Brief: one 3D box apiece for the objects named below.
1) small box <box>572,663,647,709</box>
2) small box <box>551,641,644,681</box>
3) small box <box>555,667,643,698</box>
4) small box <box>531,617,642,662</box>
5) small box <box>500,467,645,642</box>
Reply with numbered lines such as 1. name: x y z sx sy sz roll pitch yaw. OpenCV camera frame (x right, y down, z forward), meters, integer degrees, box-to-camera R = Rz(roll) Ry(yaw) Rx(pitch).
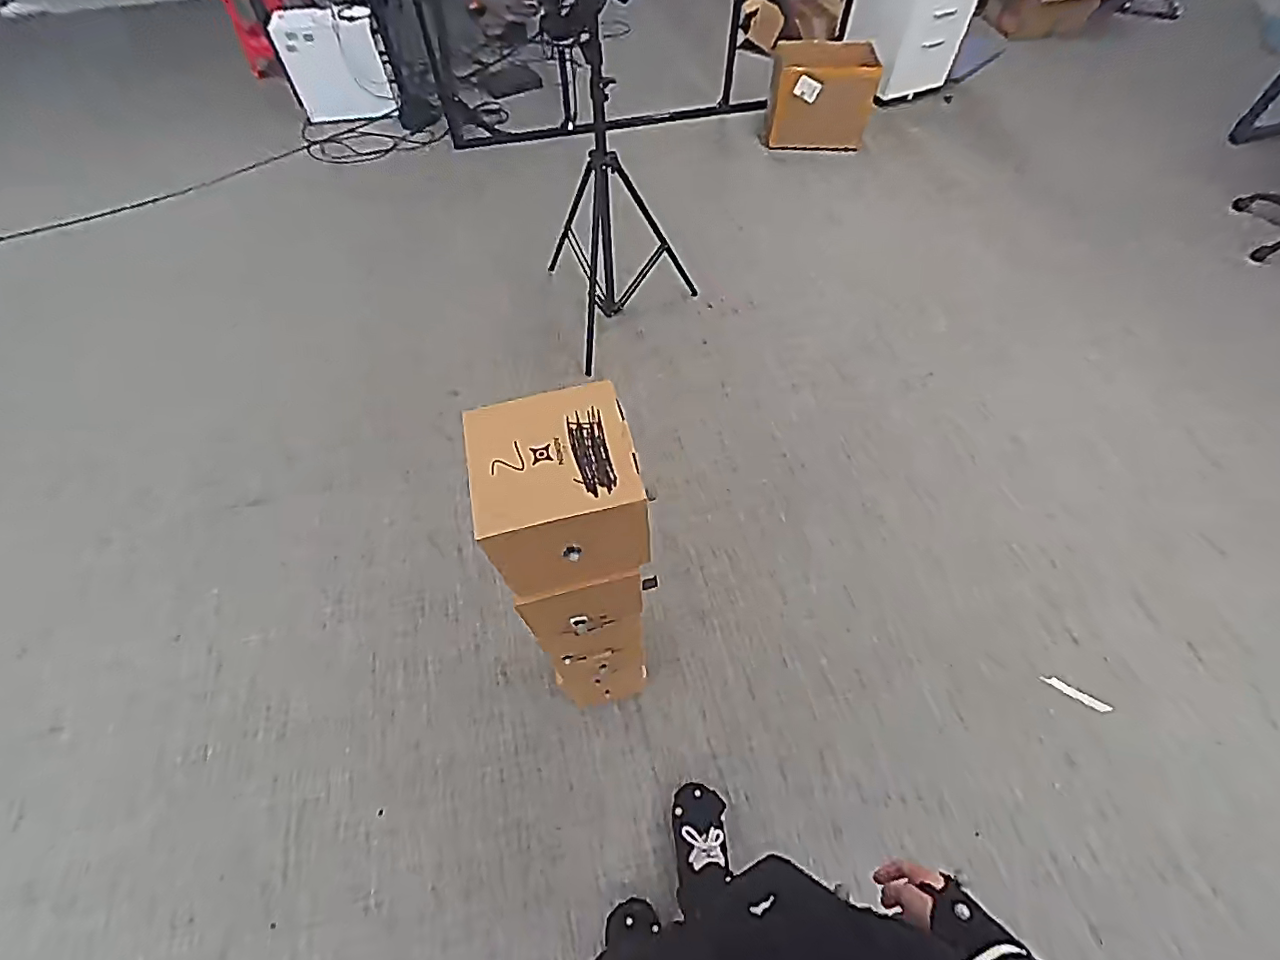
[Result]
1. small box: -0.086 0.451 1.331 0.179 0.176 0.168 -12 60 -7
2. small box: -0.087 0.281 1.052 0.168 0.176 0.179 -11 60 -6
3. small box: -0.094 0.370 1.189 0.179 0.176 0.168 -10 60 -5
4. small box: -0.093 0.195 0.912 0.168 0.176 0.179 -11 59 -6
5. small box: -0.092 0.110 0.774 0.168 0.176 0.179 -14 61 -6
